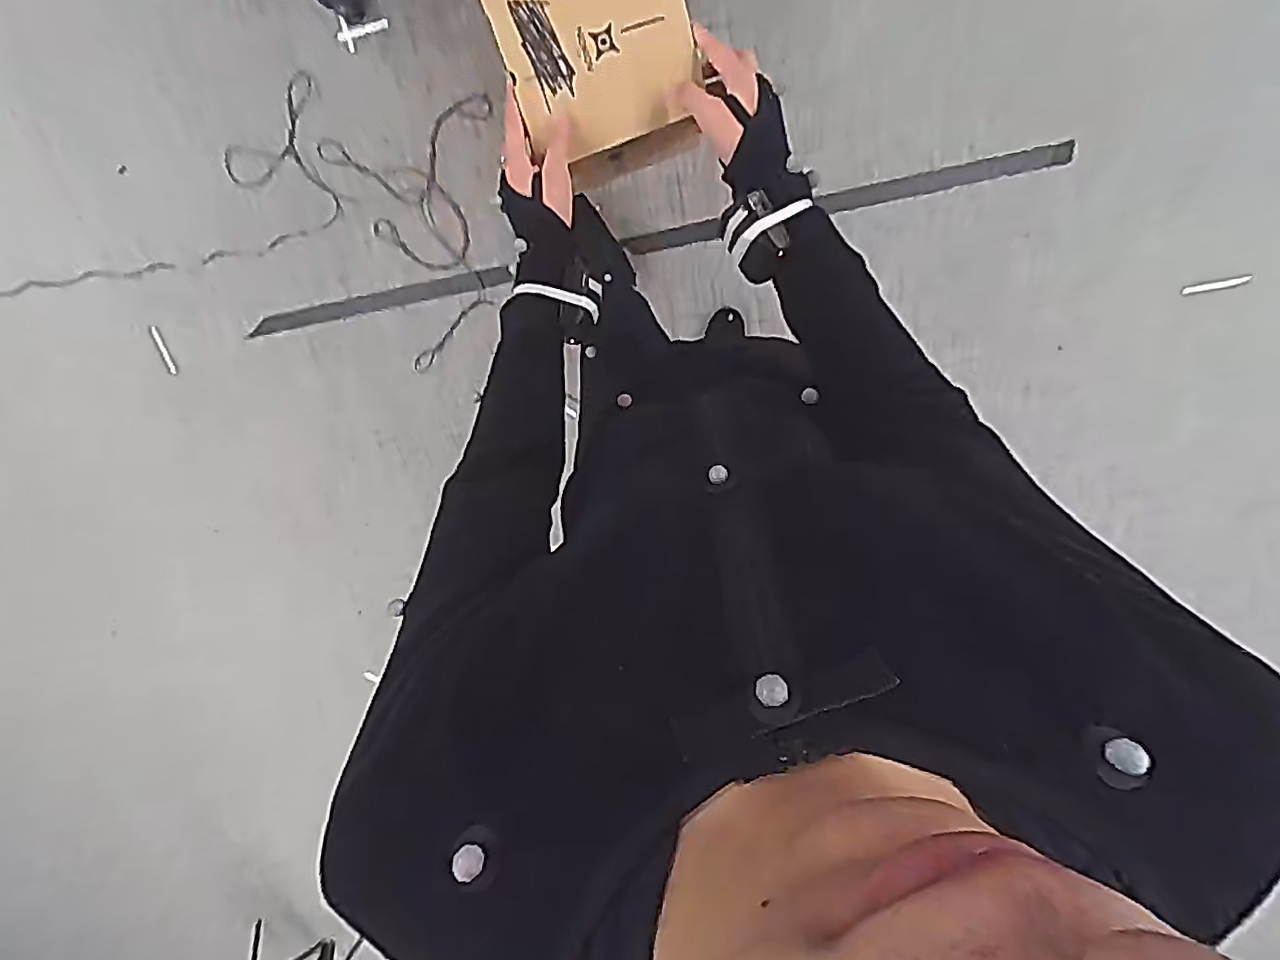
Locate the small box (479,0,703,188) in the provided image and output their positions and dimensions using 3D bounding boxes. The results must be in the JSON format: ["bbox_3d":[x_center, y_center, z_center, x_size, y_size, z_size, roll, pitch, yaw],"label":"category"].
[{"bbox_3d":[-0.040,-0.431,0.569,0.179,0.176,0.168,-16,109,8],"label":"small box"}]
